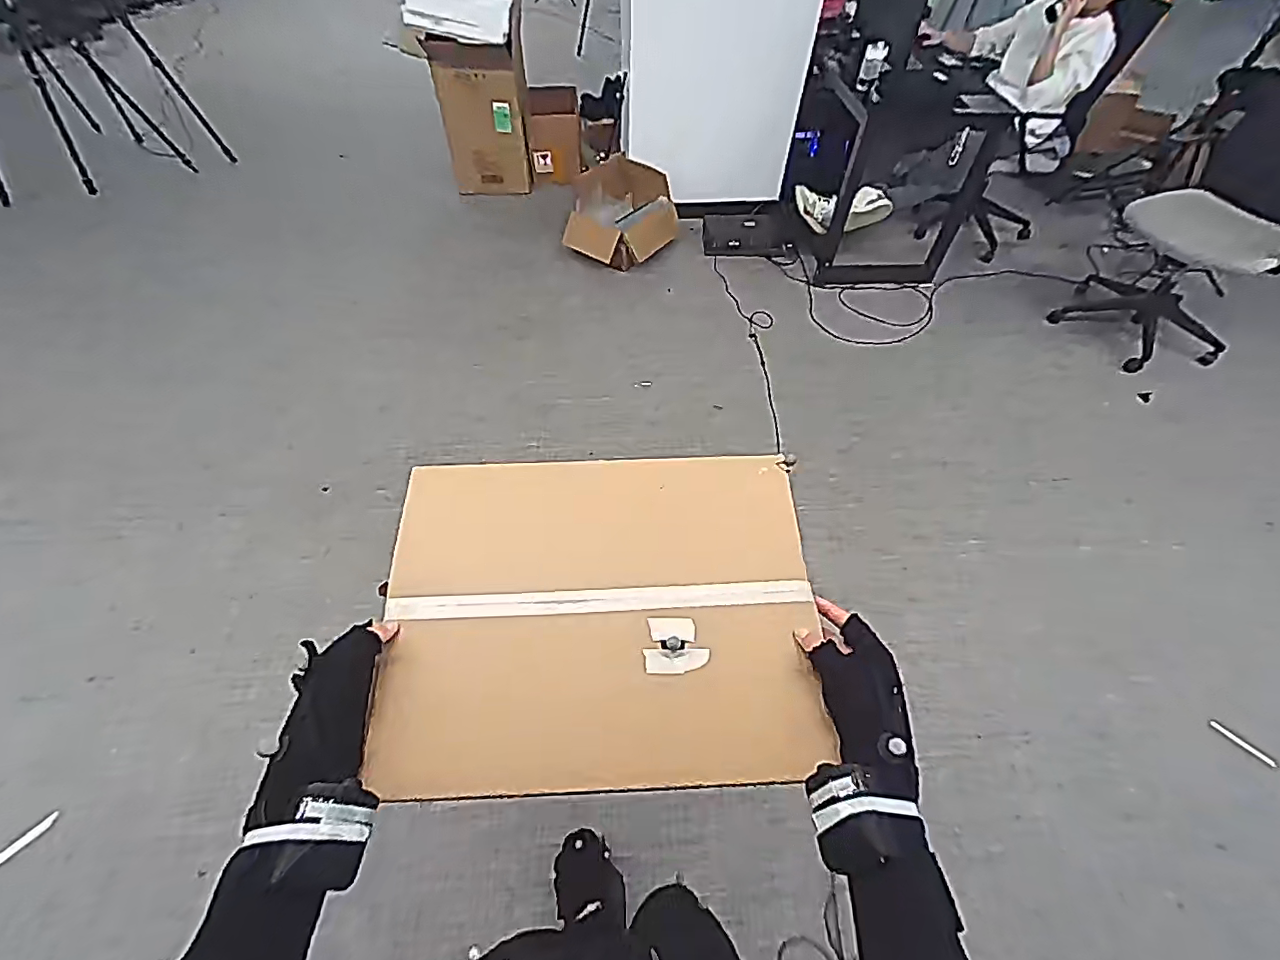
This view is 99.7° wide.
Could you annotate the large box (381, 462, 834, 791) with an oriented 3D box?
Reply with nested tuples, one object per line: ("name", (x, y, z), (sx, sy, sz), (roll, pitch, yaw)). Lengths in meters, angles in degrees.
("large box", (-0.036, 0.192, 0.668), (0.408, 0.320, 0.320), (-1, 62, -2))
